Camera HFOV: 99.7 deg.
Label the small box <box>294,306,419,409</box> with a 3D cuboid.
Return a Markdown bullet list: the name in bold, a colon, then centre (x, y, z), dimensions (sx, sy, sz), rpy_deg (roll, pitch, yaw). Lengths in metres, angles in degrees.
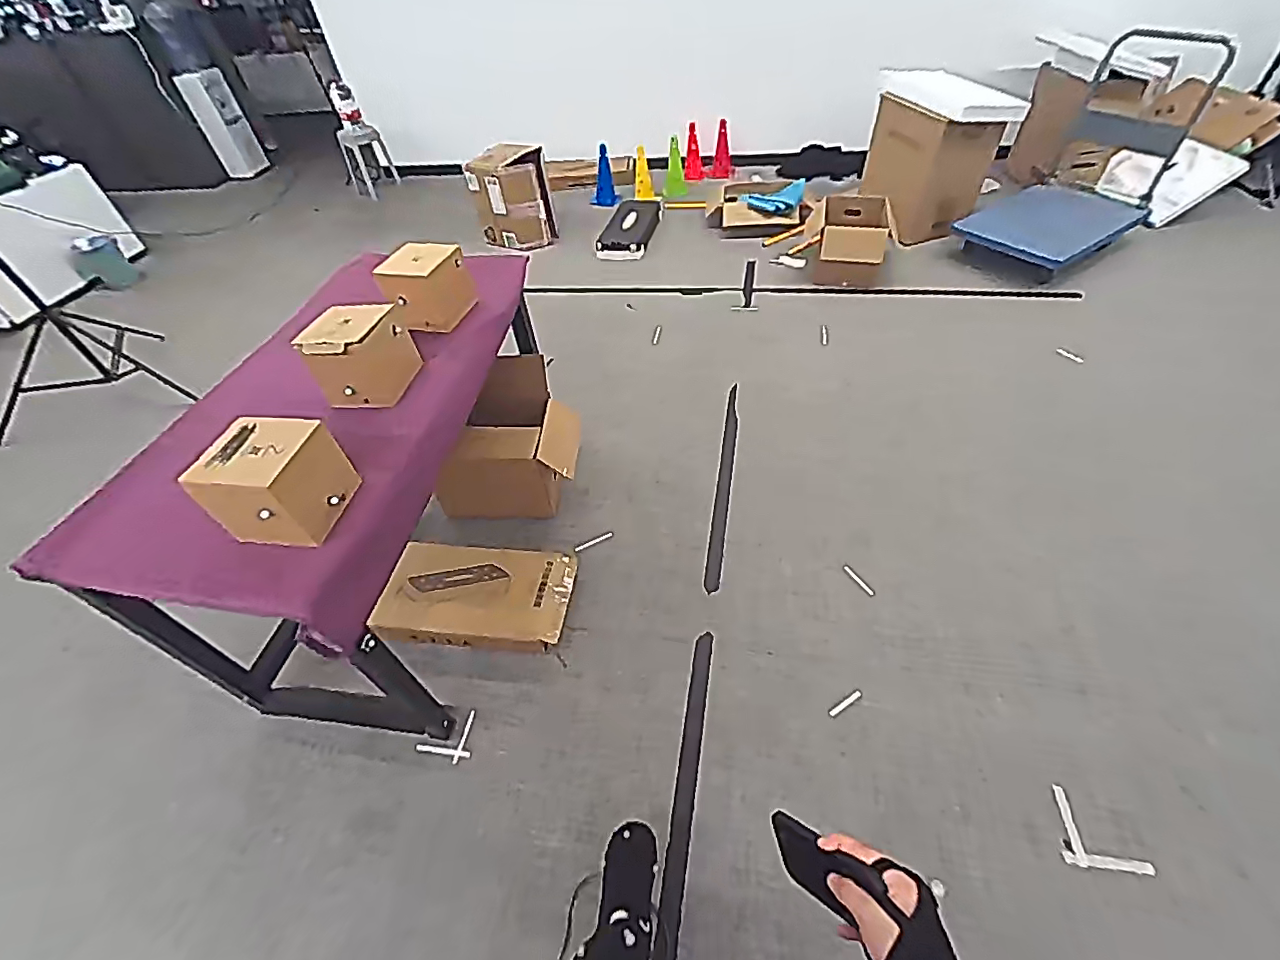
- **small box**: centre (-0.643, -0.284, 1.255), dimensions (0.168, 0.176, 0.179), rpy_deg (1, 47, 11)

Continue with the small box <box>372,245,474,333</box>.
- **small box**: centre (-0.575, -0.515, 1.464), dimensions (0.168, 0.176, 0.179), rpy_deg (8, 48, 14)
